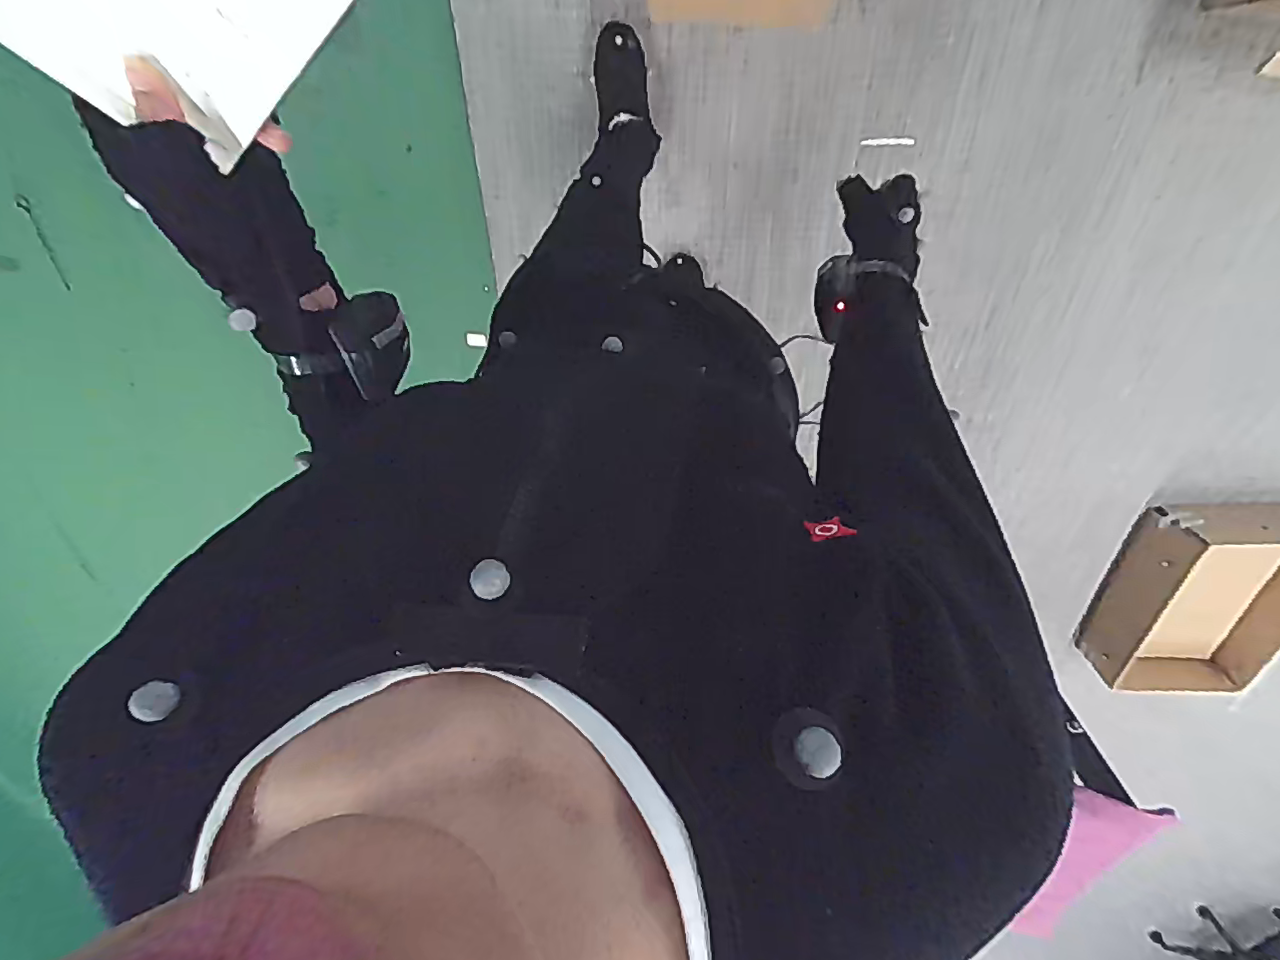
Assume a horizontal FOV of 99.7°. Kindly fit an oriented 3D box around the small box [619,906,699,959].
[{"bbox_3d":[0.038,1.034,1.140,0.168,0.176,0.179,3,123,4],"label":"small box"}]

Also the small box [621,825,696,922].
[{"bbox_3d":[0.042,0.944,1.277,0.168,0.176,0.179,2,124,3],"label":"small box"}]
